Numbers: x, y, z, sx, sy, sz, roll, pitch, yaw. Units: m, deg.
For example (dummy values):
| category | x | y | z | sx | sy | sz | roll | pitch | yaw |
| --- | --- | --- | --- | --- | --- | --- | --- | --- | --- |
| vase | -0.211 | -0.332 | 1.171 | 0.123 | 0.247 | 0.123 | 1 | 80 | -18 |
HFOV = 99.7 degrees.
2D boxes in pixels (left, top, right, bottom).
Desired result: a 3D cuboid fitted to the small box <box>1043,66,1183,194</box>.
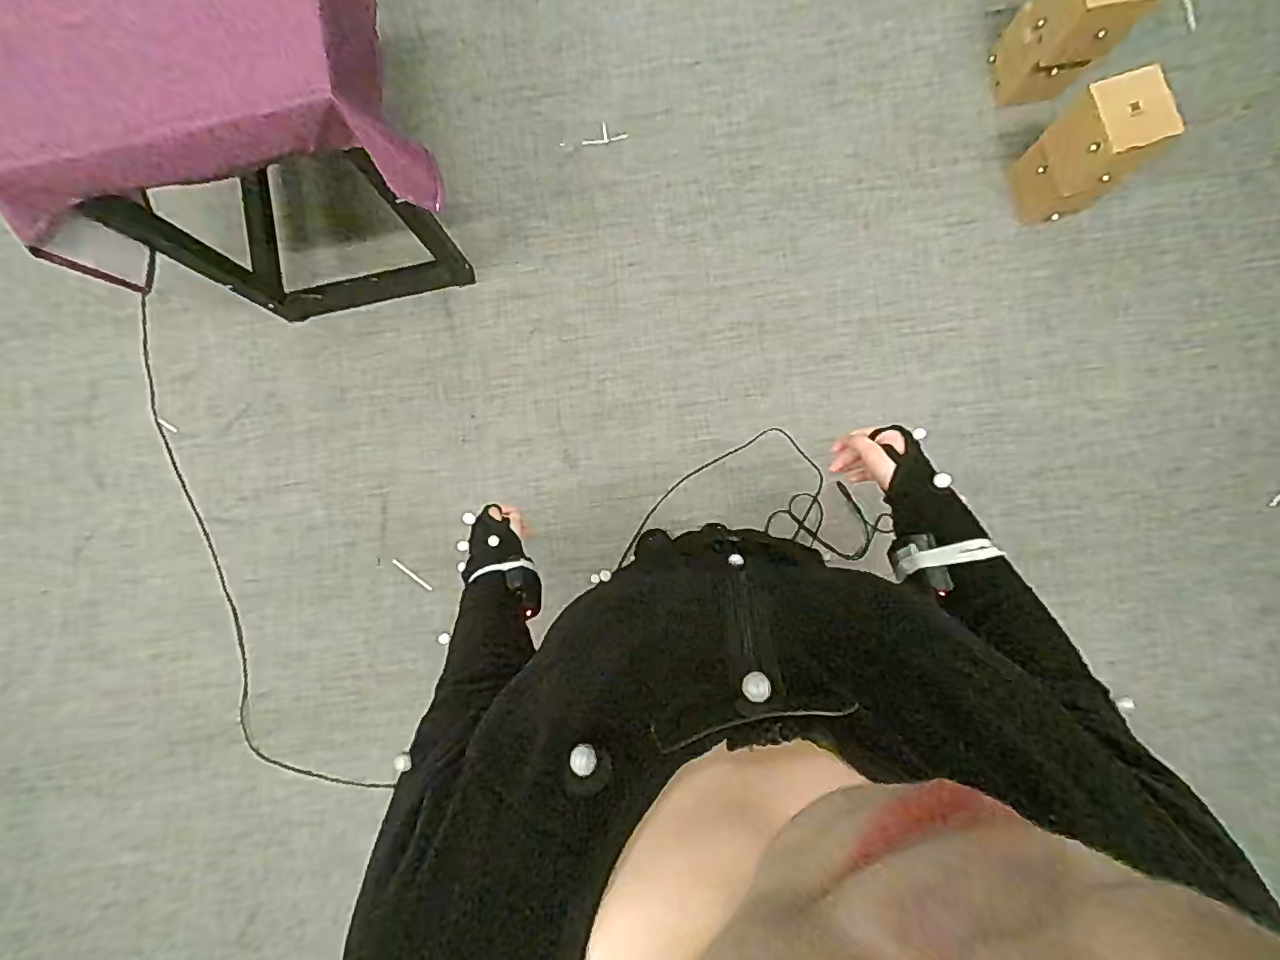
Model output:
| category | x | y | z | sx | sy | sz | roll | pitch | yaw |
| --- | --- | --- | --- | --- | --- | --- | --- | --- | --- |
| small box | 1.130 | -0.839 | 1.309 | 0.168 | 0.176 | 0.179 | -16 | 86 | 2 |

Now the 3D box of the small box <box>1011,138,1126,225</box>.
| category | x | y | z | sx | sy | sz | roll | pitch | yaw |
| --- | --- | --- | --- | --- | --- | --- | --- | --- | --- |
| small box | 1.153 | -0.833 | 1.471 | 0.168 | 0.176 | 0.179 | -11 | 86 | 3 |

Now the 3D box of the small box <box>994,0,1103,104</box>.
| category | x | y | z | sx | sy | sz | roll | pitch | yaw |
| --- | --- | --- | --- | --- | --- | --- | --- | --- | --- |
| small box | 1.116 | -1.184 | 1.497 | 0.179 | 0.176 | 0.168 | -8 | 86 | 1 |
